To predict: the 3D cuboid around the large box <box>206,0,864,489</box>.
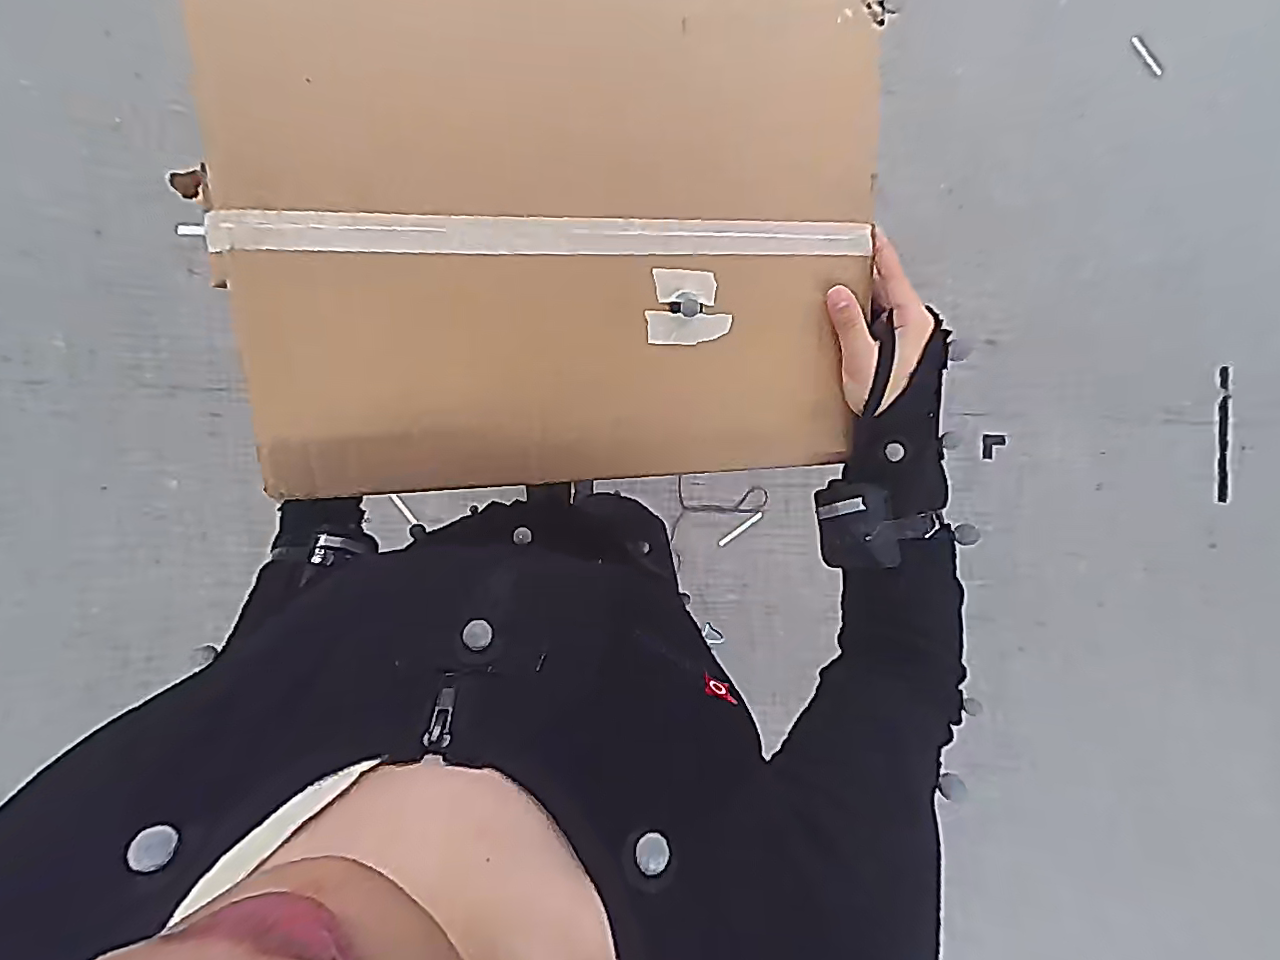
[{"bbox_3d":[-0.068,-0.187,0.495,0.408,0.320,0.320,-5,102,-12],"label":"large box"}]
